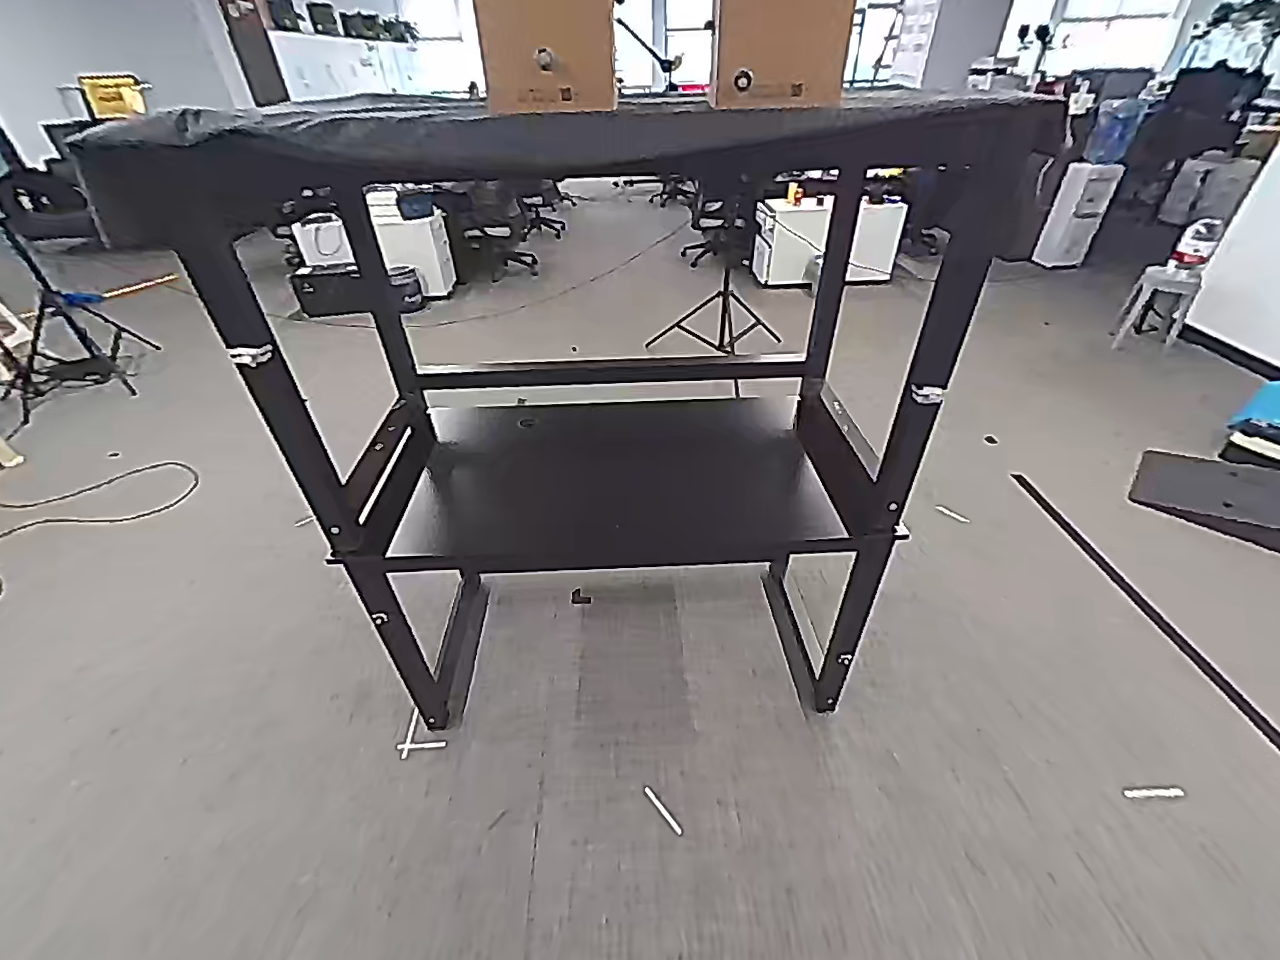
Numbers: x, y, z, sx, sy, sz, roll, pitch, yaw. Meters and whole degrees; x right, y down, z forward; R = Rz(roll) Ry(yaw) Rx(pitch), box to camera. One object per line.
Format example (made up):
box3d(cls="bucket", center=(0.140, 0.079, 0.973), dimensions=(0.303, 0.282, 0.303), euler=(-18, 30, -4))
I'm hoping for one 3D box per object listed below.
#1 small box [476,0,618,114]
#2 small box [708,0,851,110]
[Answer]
box3d(cls="small box", center=(-0.117, -0.596, 0.724), dimensions=(0.168, 0.176, 0.179), euler=(-2, 35, 1))
box3d(cls="small box", center=(0.181, -0.609, 0.732), dimensions=(0.168, 0.176, 0.179), euler=(0, 36, 2))
